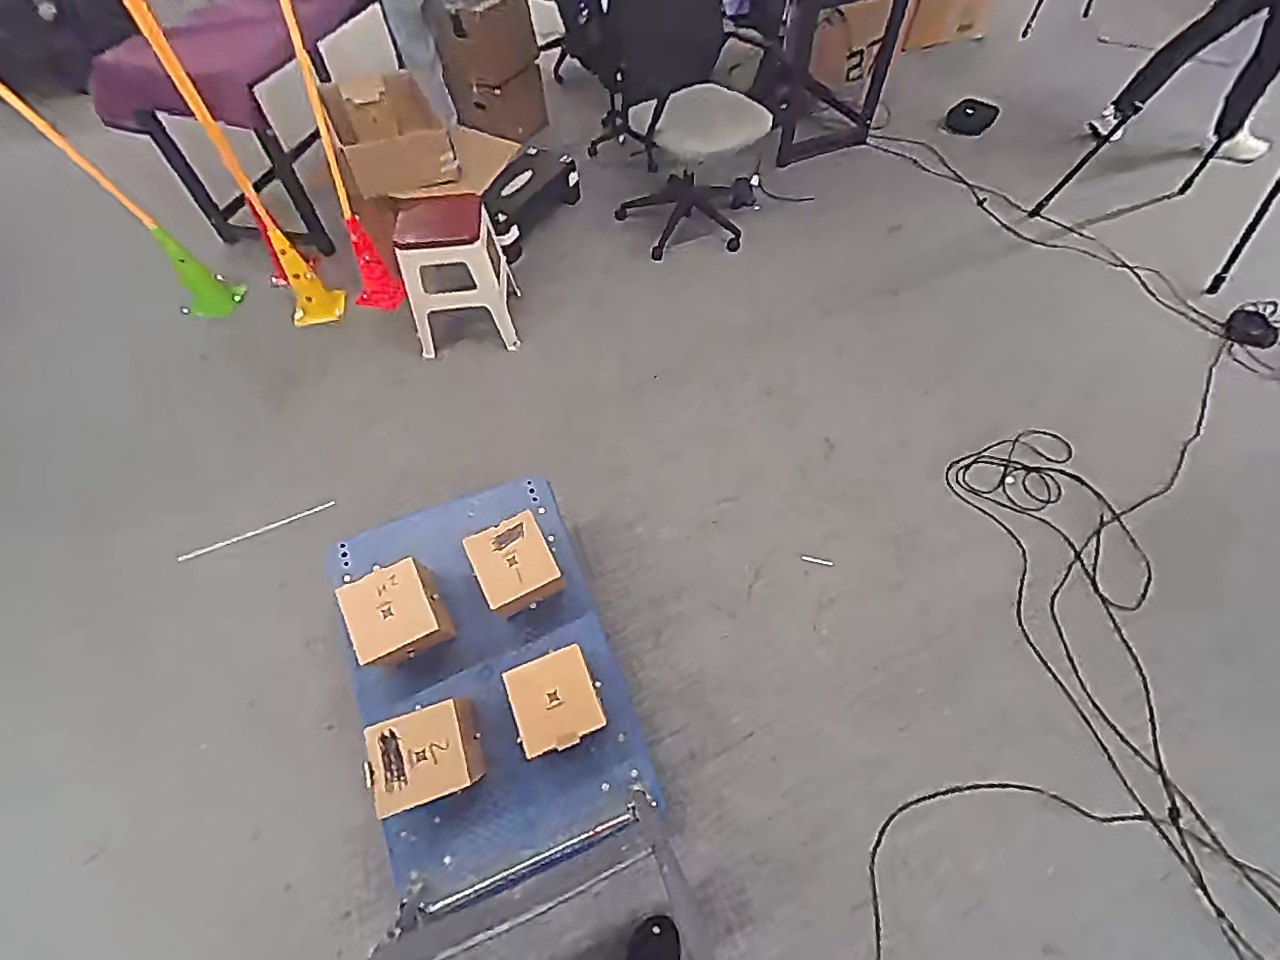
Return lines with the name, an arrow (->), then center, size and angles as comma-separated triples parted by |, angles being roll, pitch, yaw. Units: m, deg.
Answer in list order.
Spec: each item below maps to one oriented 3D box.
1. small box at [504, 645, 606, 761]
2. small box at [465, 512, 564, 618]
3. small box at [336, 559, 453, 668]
small box -> -0.181, 0.475, 1.165 | 0.168, 0.176, 0.179 | -19, 73, -12
small box -> -0.286, 0.202, 1.259 | 0.168, 0.176, 0.179 | -24, 74, -13
small box -> -0.535, 0.300, 1.200 | 0.168, 0.176, 0.179 | -24, 73, -14
